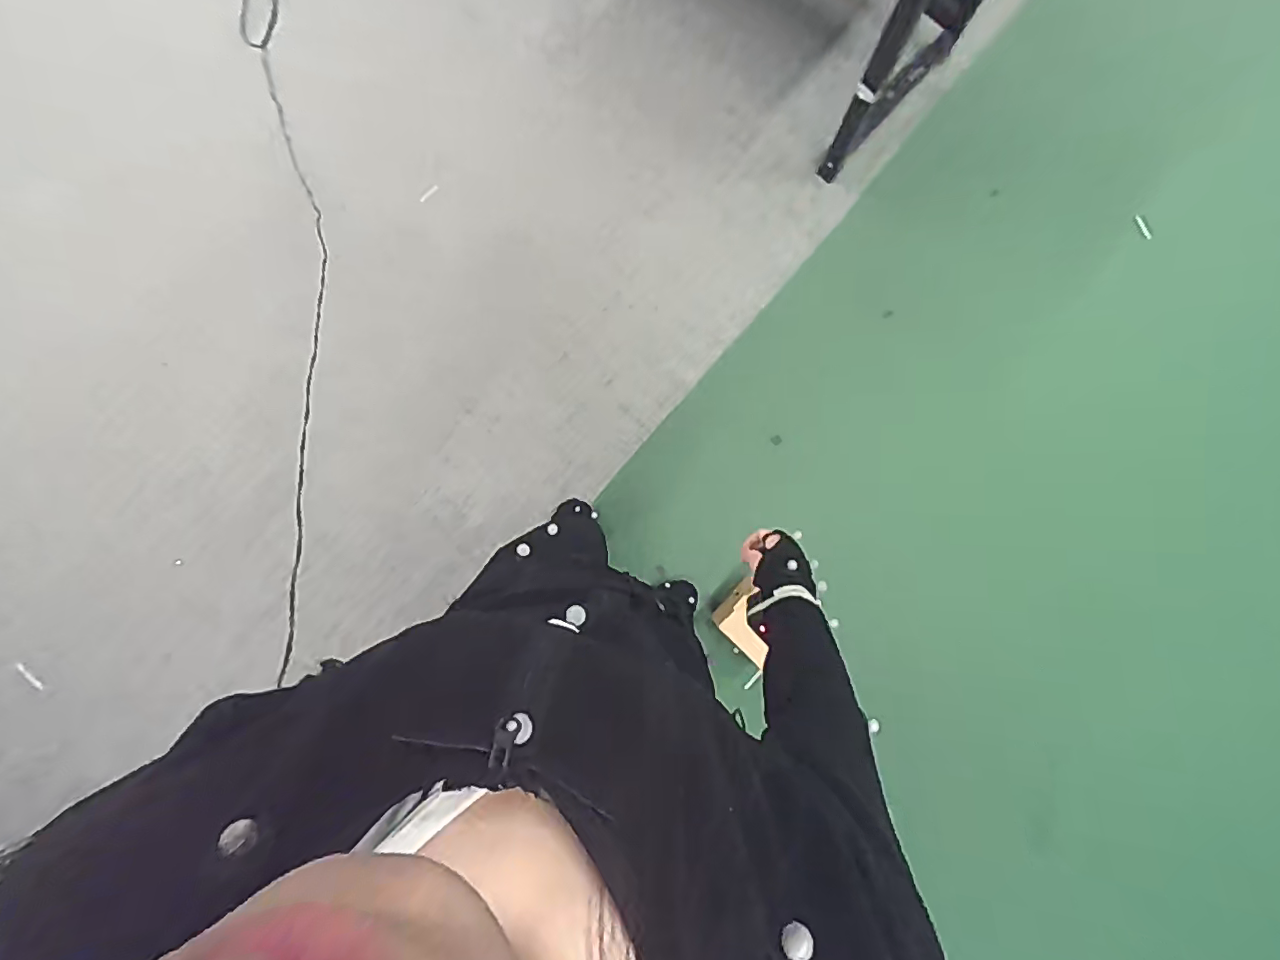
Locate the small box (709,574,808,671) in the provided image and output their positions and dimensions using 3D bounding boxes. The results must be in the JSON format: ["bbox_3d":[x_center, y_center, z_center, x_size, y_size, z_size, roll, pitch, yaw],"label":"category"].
[{"bbox_3d":[0.303,0.362,1.419,0.179,0.176,0.168,44,87,4],"label":"small box"}]
